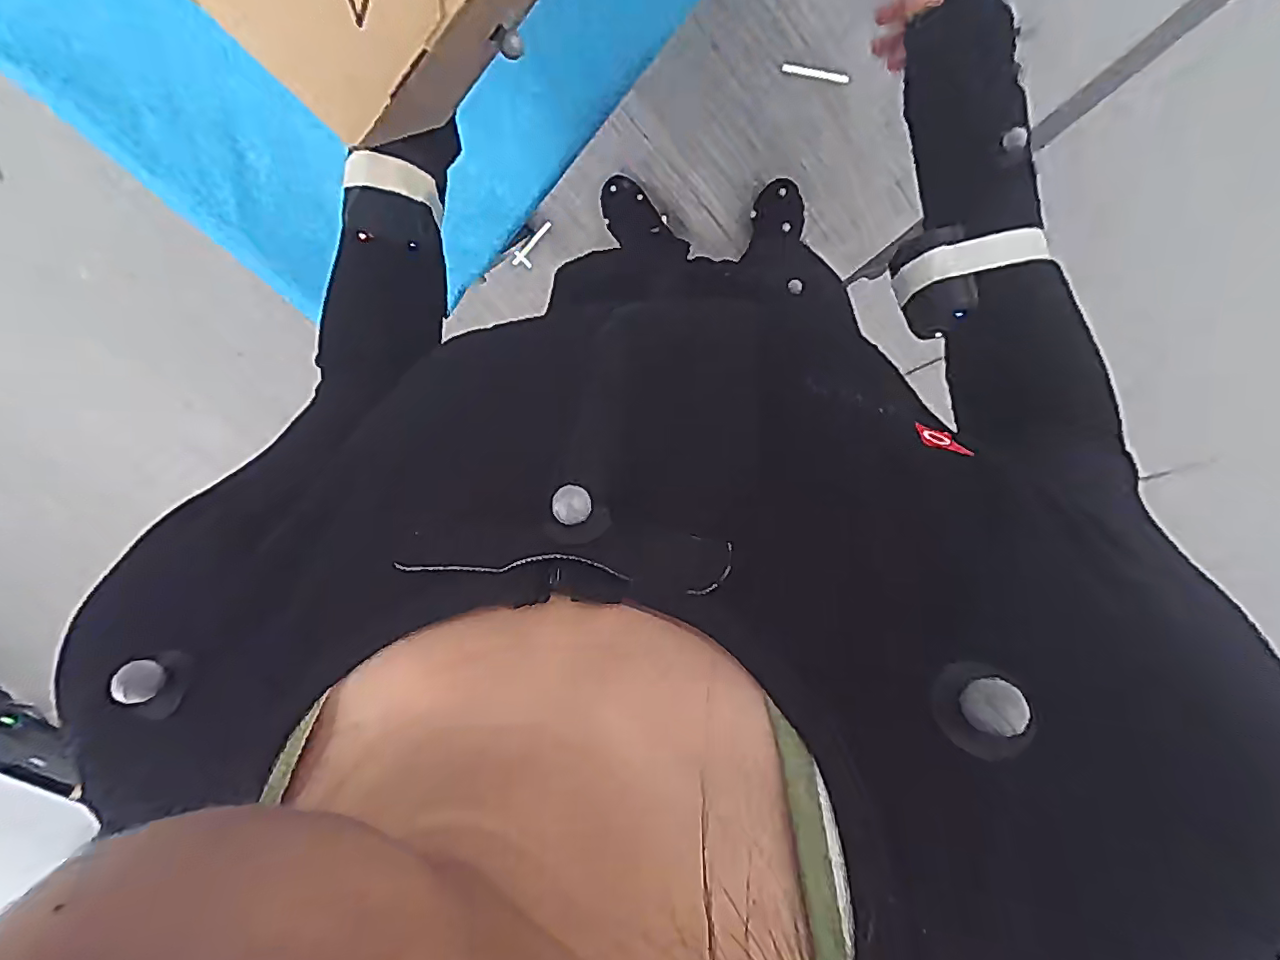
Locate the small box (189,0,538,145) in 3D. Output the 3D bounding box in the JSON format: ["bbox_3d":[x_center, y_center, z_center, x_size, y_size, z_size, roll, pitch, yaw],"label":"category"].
[{"bbox_3d":[-0.141,-0.306,0.261,0.168,0.176,0.179,-32,124,23],"label":"small box"}]
